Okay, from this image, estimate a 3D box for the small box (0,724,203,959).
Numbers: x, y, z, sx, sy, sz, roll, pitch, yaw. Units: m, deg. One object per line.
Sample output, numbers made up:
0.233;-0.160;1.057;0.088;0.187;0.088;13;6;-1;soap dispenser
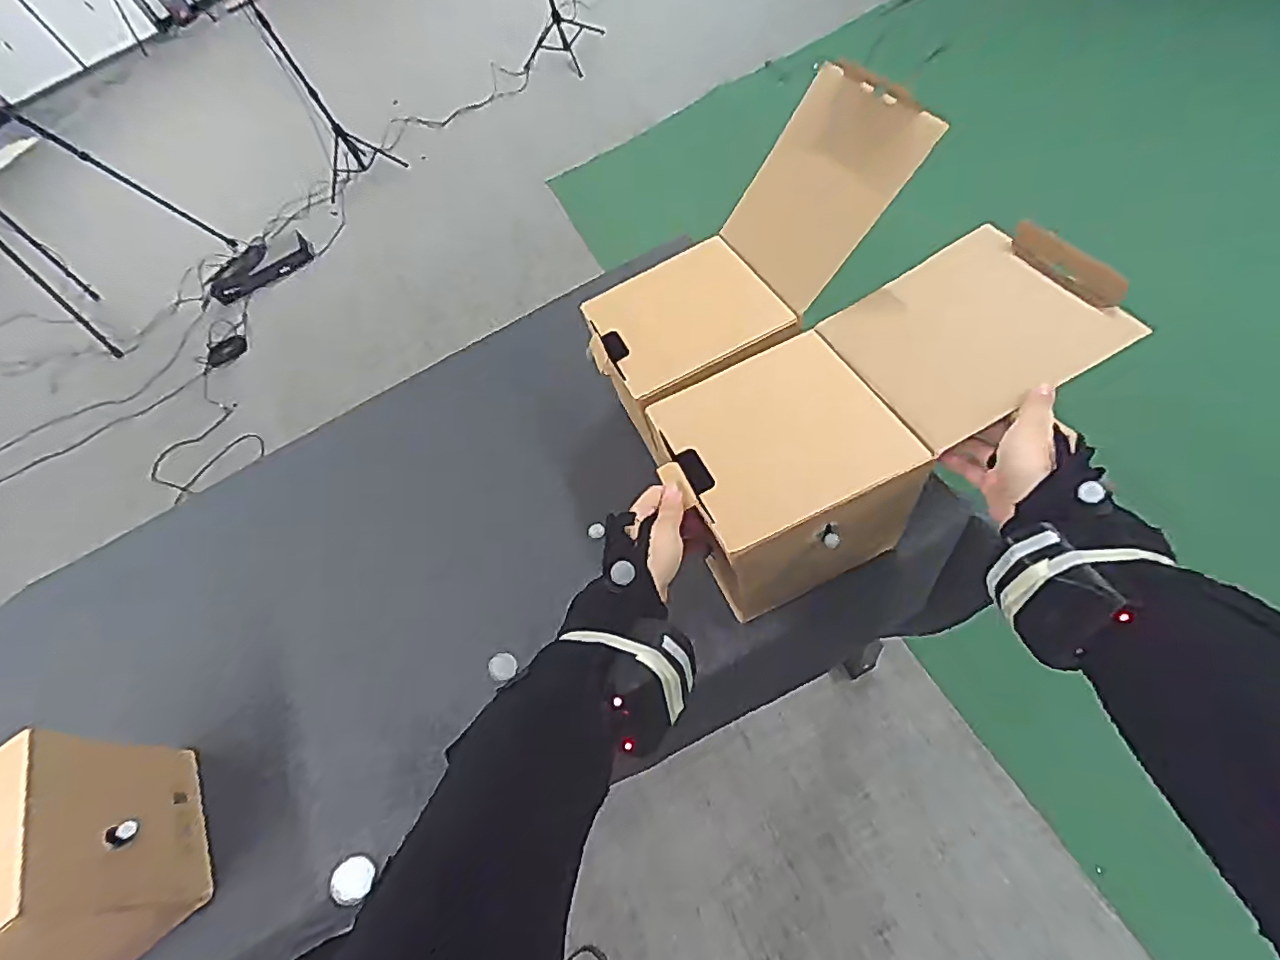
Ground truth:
-0.547;0.359;0.496;0.179;0.176;0.168;-39;55;-8;small box
